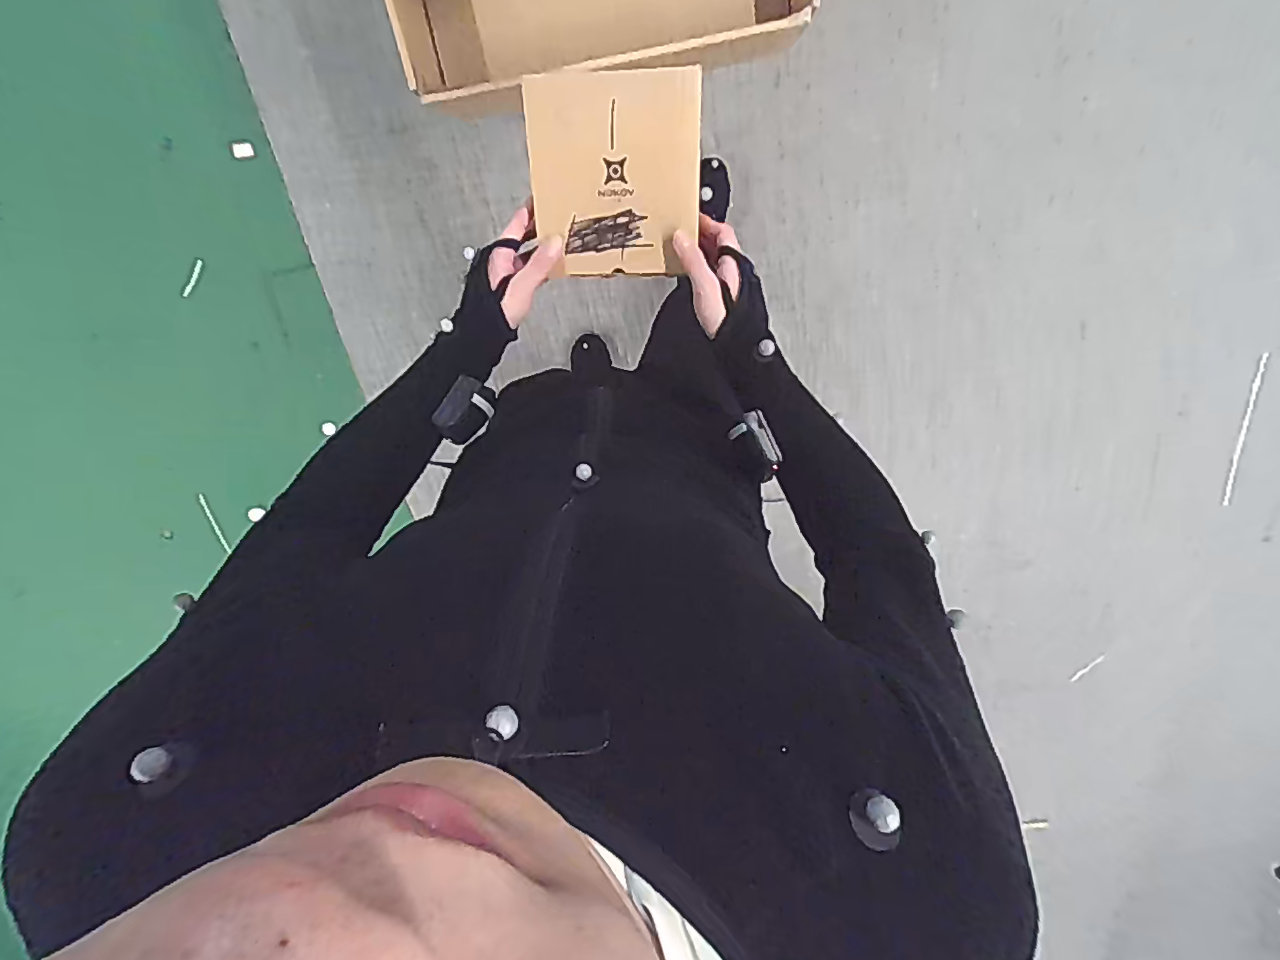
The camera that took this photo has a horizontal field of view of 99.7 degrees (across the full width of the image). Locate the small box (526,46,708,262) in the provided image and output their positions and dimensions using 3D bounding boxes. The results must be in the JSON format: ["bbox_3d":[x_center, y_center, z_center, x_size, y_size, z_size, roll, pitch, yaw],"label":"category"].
[{"bbox_3d":[-0.015,-0.339,0.584,0.168,0.176,0.179,1,117,4],"label":"small box"}]

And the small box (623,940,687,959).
[{"bbox_3d":[0.050,1.348,1.408,0.168,0.176,0.179,-11,113,4],"label":"small box"}]
